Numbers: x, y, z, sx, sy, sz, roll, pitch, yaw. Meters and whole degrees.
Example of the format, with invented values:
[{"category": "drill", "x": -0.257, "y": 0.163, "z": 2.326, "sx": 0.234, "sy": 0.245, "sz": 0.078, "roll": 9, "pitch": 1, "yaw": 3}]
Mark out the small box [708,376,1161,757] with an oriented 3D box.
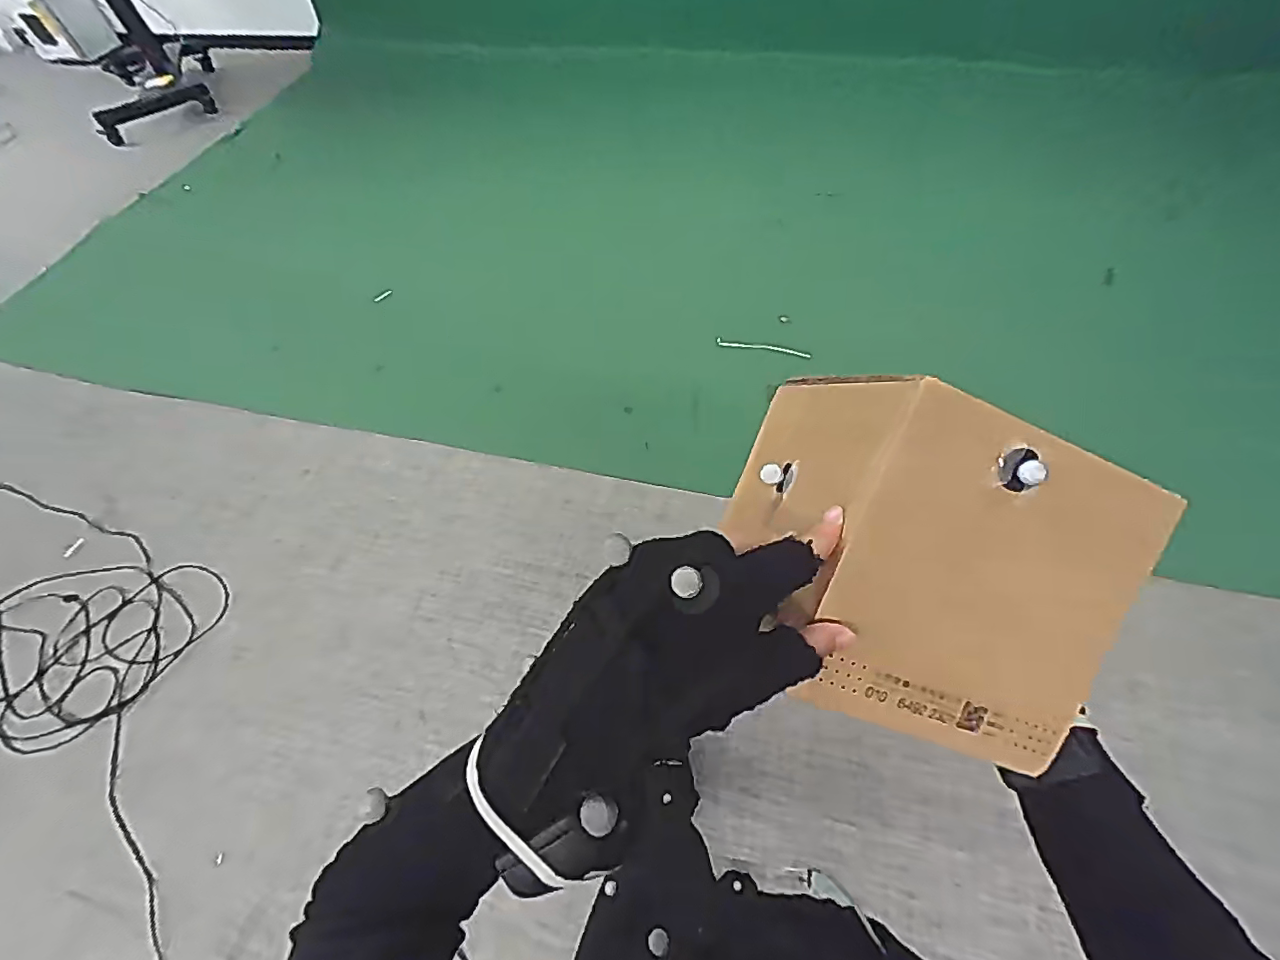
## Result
[{"category": "small box", "x": 0.163, "y": 0.043, "z": 0.365, "sx": 0.168, "sy": 0.179, "sz": 0.176, "roll": 21, "pitch": 96, "yaw": -10}]
